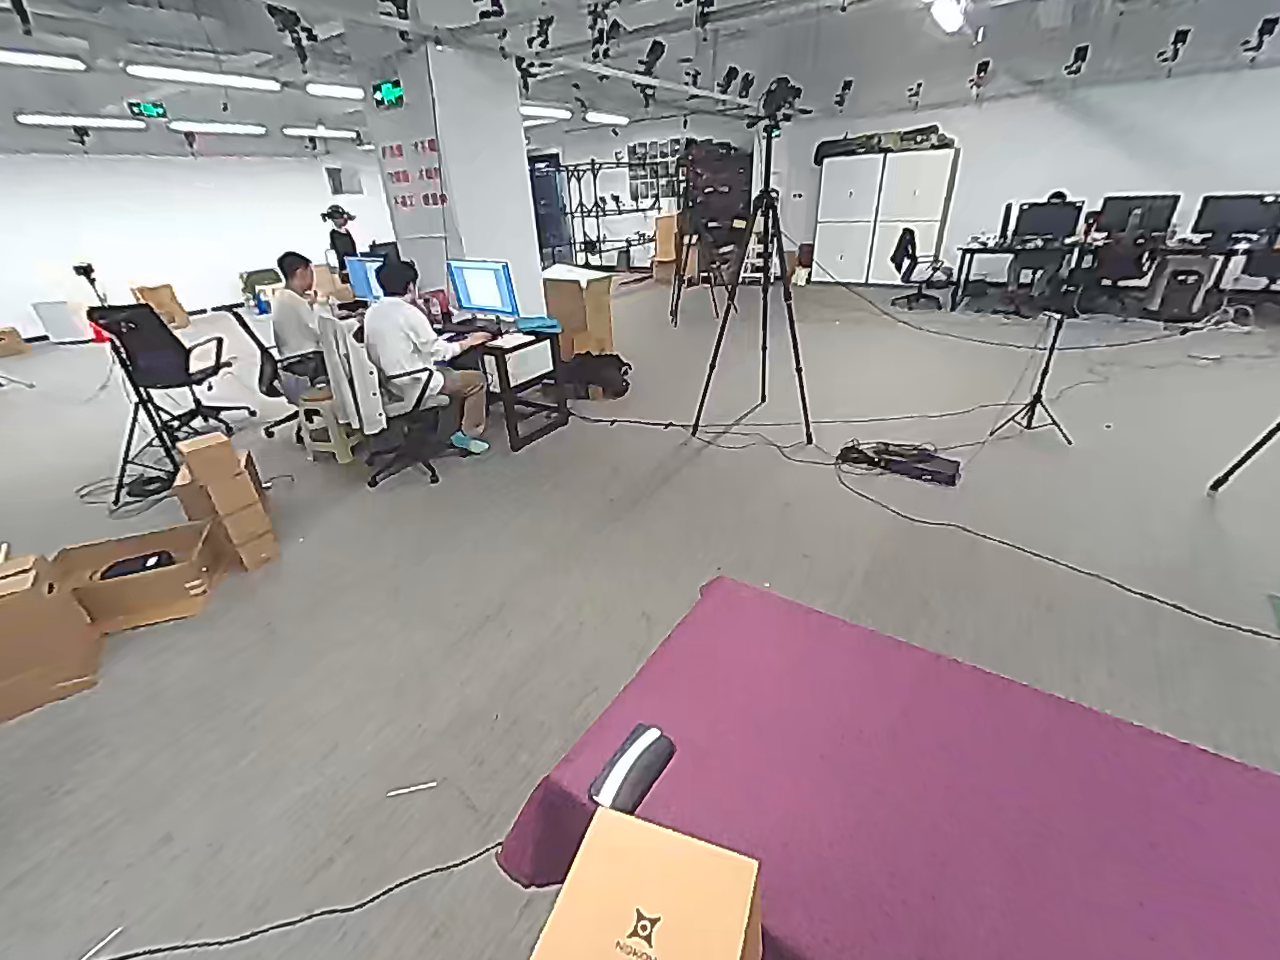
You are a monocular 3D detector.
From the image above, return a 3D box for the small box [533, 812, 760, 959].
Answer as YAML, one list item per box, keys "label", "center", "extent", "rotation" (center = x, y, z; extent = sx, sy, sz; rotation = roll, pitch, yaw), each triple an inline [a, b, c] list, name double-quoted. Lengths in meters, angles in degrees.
- label: "small box"
  center: [0.011, 0.460, 0.496]
  extent: [0.168, 0.176, 0.179]
  rotation: [5, 31, 23]
